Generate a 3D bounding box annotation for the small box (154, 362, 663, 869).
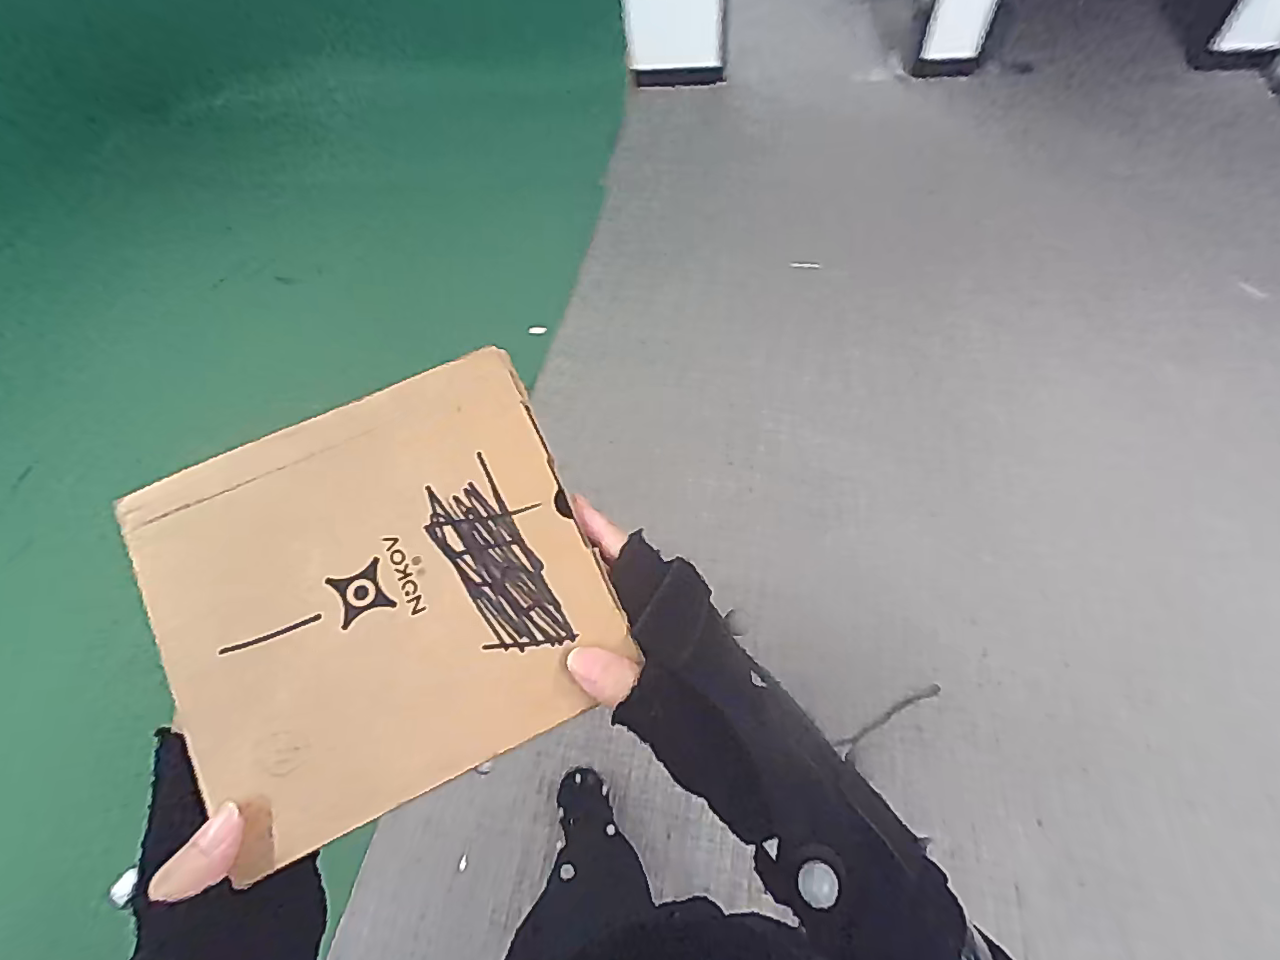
[{"bbox_3d":[-0.108,0.063,0.317,0.179,0.176,0.168,-26,81,-10],"label":"small box"}]
